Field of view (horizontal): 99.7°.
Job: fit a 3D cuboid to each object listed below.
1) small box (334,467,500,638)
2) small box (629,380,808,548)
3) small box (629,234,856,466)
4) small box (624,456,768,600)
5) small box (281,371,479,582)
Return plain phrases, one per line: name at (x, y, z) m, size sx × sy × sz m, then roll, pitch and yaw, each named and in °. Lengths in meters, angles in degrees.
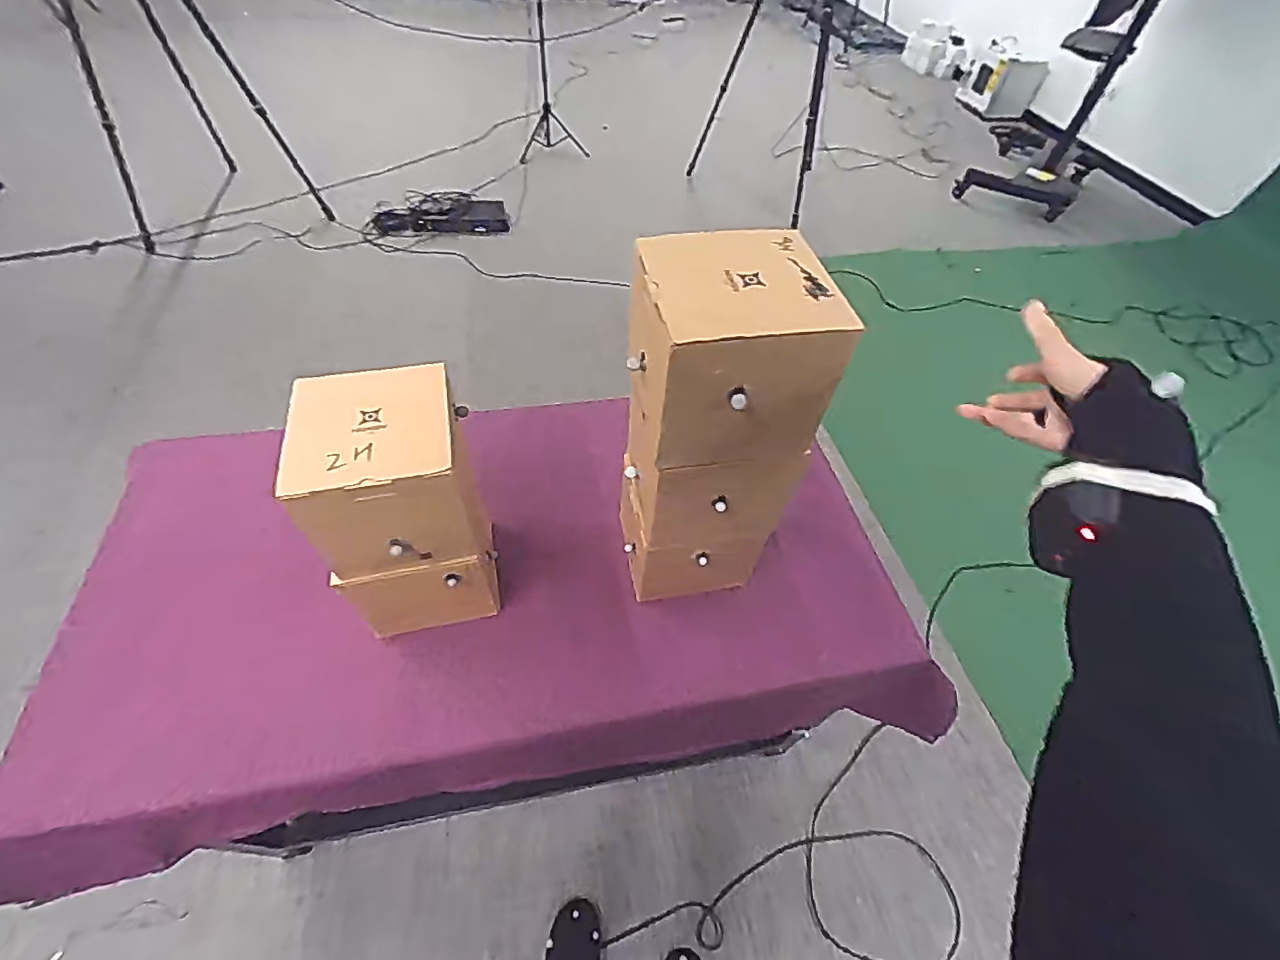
small box at (-0.307, 0.106, 0.772) m, size 0.179 × 0.176 × 0.168 m, roll -10°, pitch 53°, yaw -12°
small box at (0.085, -0.030, 0.696) m, size 0.179 × 0.176 × 0.168 m, roll -7°, pitch 54°, yaw -8°
small box at (0.087, -0.130, 0.565) m, size 0.179 × 0.176 × 0.168 m, roll -8°, pitch 54°, yaw -8°
small box at (0.072, 0.070, 0.825) m, size 0.179 × 0.176 × 0.168 m, roll -6°, pitch 53°, yaw -9°
small box at (-0.295, -0.005, 0.649) m, size 0.168 × 0.176 × 0.179 m, roll -10°, pitch 53°, yaw -12°
